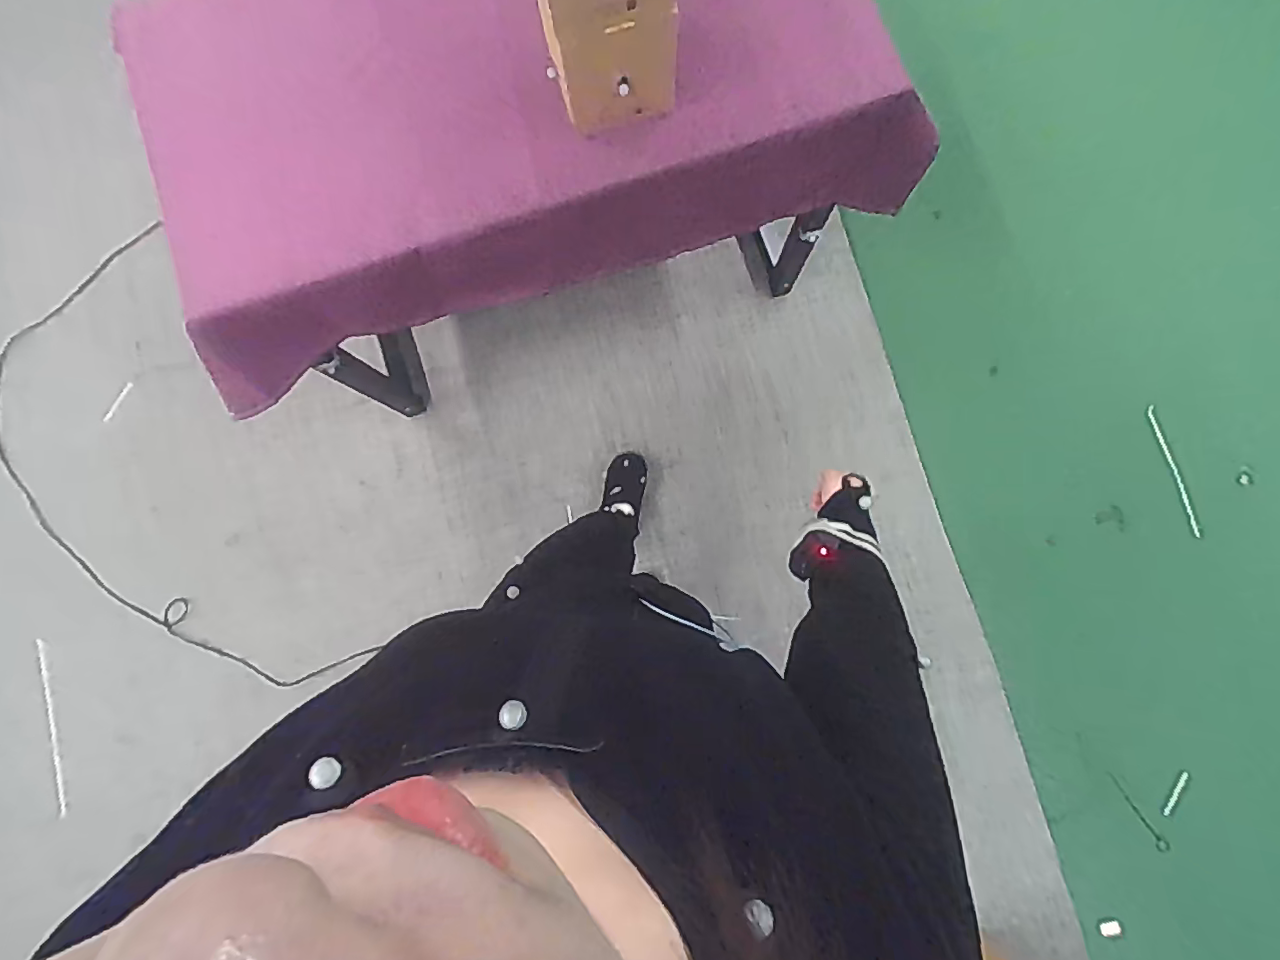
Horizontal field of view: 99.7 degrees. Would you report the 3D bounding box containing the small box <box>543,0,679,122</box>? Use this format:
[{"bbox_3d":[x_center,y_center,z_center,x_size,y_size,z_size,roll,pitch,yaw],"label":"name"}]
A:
[{"bbox_3d":[-0.045,-0.665,0.790,0.168,0.176,0.179,-17,84,-1],"label":"small box"}]

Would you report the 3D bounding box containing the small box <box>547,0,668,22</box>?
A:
[{"bbox_3d":[-0.053,-0.683,0.625,0.168,0.176,0.179,-17,83,-1],"label":"small box"}]
